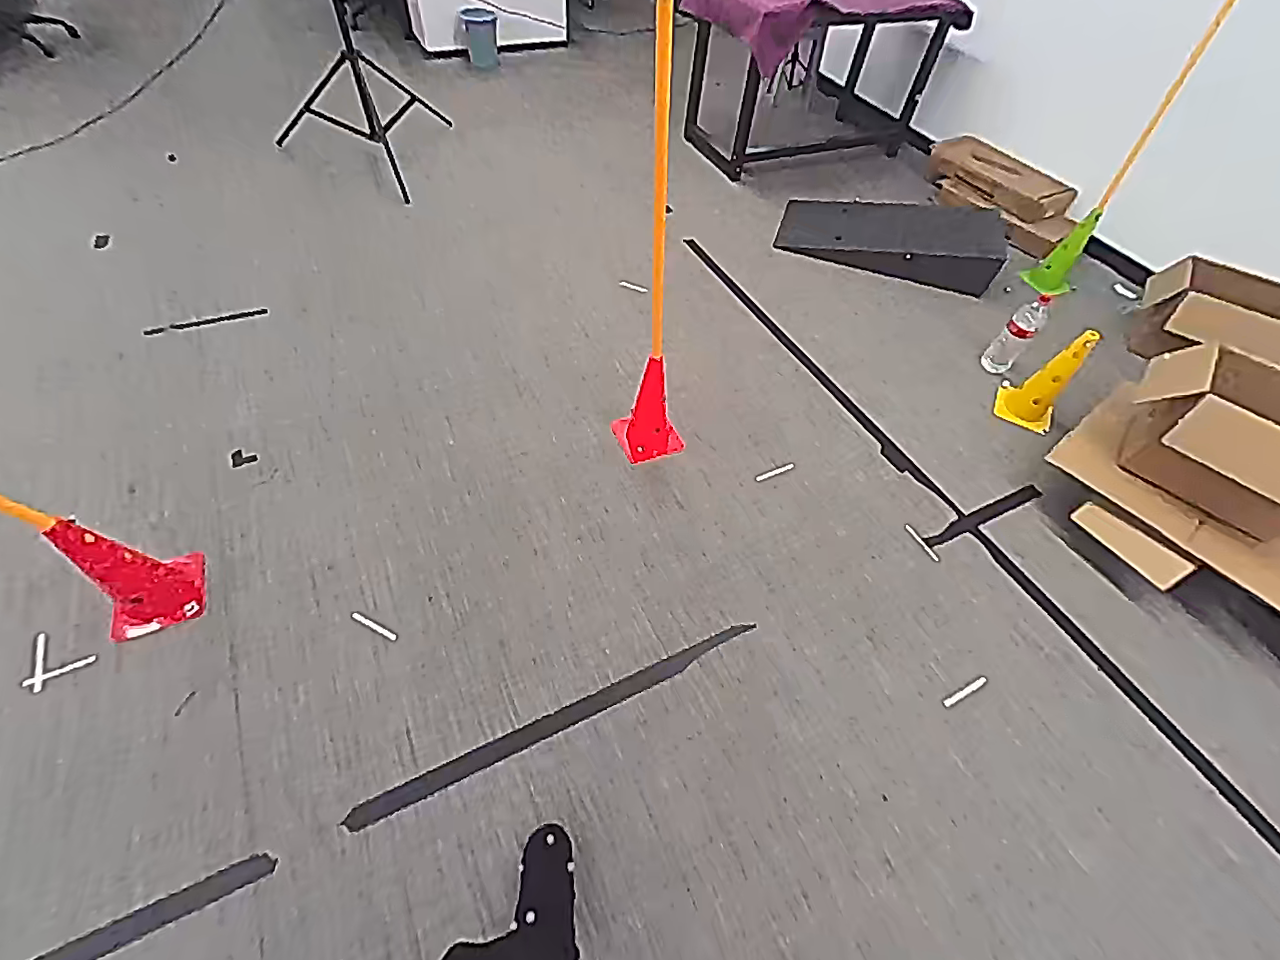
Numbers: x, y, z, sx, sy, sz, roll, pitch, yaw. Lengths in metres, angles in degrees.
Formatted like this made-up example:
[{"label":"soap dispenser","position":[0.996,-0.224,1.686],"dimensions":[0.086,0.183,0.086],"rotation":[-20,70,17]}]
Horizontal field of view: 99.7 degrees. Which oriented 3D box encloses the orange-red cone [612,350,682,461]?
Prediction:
[{"label":"orange-red cone","position":[0.035,-0.257,1.687],"dimensions":[0.199,0.360,0.198],"rotation":[-17,58,-17]}]
